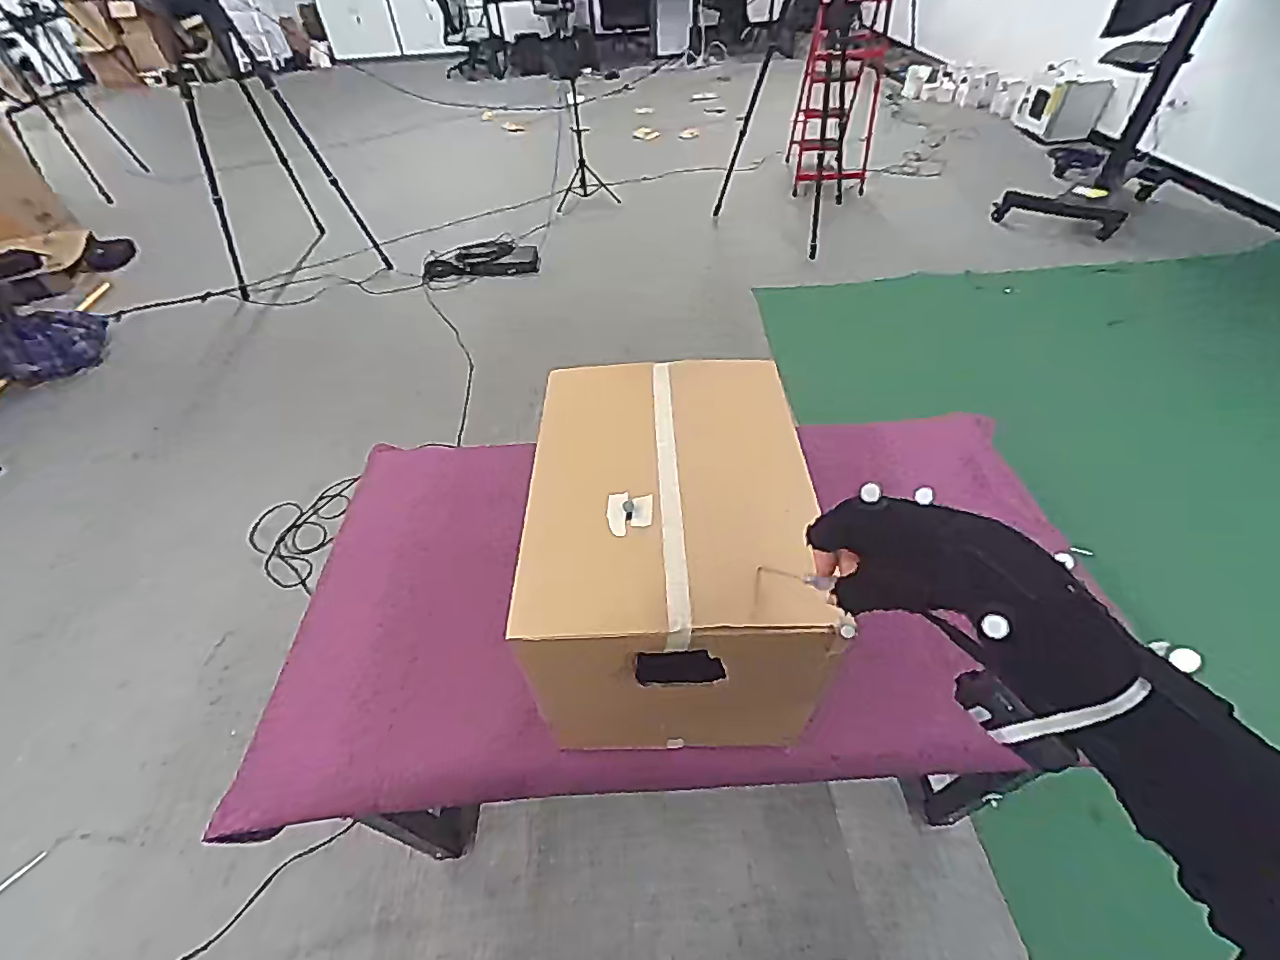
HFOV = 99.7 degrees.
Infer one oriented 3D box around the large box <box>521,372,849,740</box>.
[{"bbox_3d":[0.039,0.097,0.739,0.320,0.320,0.408,-2,48,1],"label":"large box"}]
